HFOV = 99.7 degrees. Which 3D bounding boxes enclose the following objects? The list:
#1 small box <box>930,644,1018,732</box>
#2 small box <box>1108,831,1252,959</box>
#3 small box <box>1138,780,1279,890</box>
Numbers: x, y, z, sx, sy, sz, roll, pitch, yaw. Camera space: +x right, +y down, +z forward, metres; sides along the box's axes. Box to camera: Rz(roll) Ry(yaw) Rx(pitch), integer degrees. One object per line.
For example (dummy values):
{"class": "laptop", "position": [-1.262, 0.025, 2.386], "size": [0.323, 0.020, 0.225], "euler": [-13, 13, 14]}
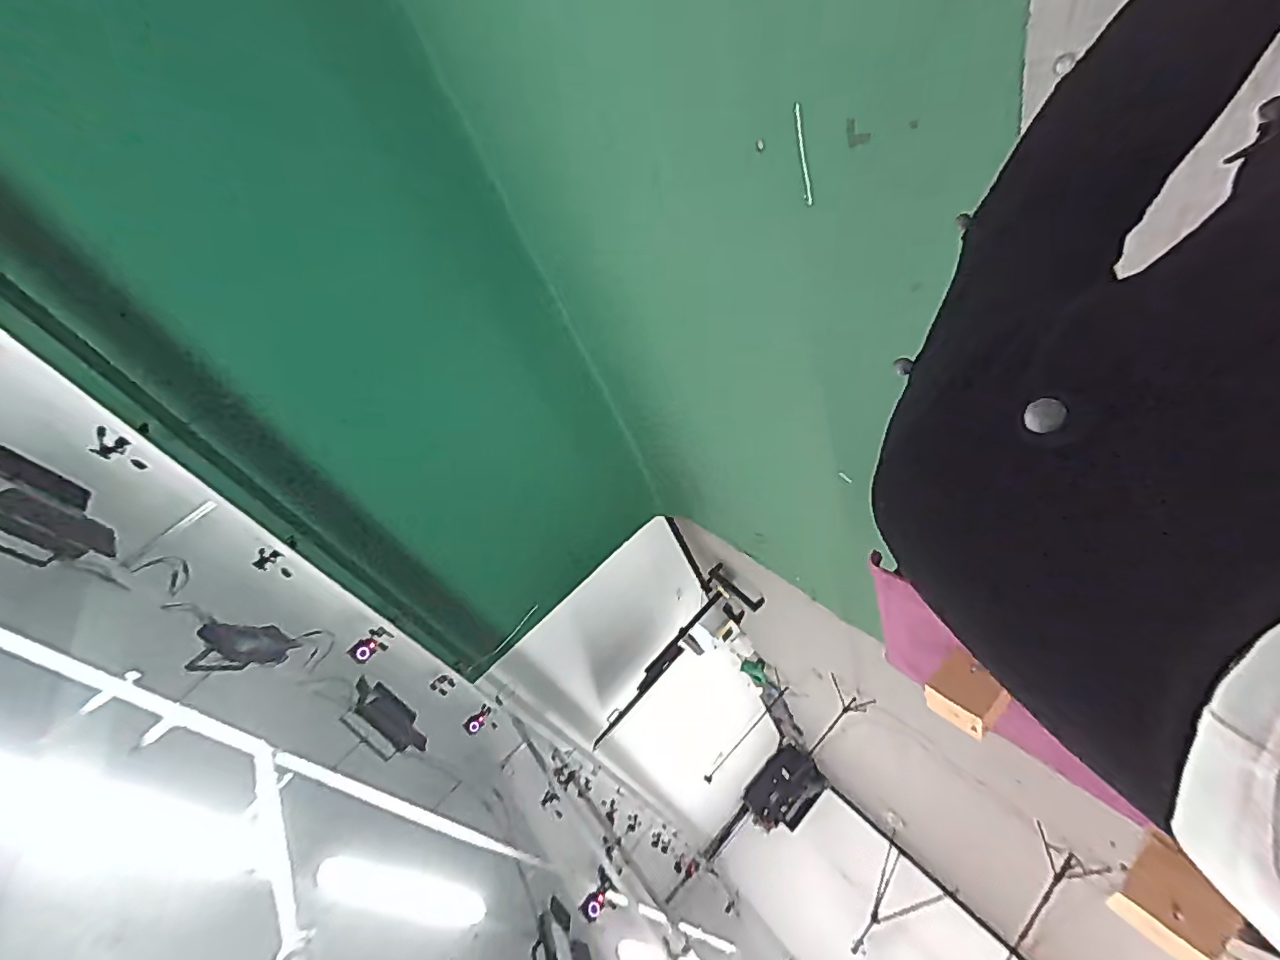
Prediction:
{"class": "small box", "position": [1.046, 0.643, 1.699], "size": [0.179, 0.176, 0.168], "euler": [31, 158, 47]}
{"class": "small box", "position": [1.265, 0.970, 1.275], "size": [0.179, 0.176, 0.168], "euler": [32, 158, 46]}
{"class": "small box", "position": [1.383, 0.867, 1.319], "size": [0.179, 0.176, 0.168], "euler": [33, 159, 46]}
